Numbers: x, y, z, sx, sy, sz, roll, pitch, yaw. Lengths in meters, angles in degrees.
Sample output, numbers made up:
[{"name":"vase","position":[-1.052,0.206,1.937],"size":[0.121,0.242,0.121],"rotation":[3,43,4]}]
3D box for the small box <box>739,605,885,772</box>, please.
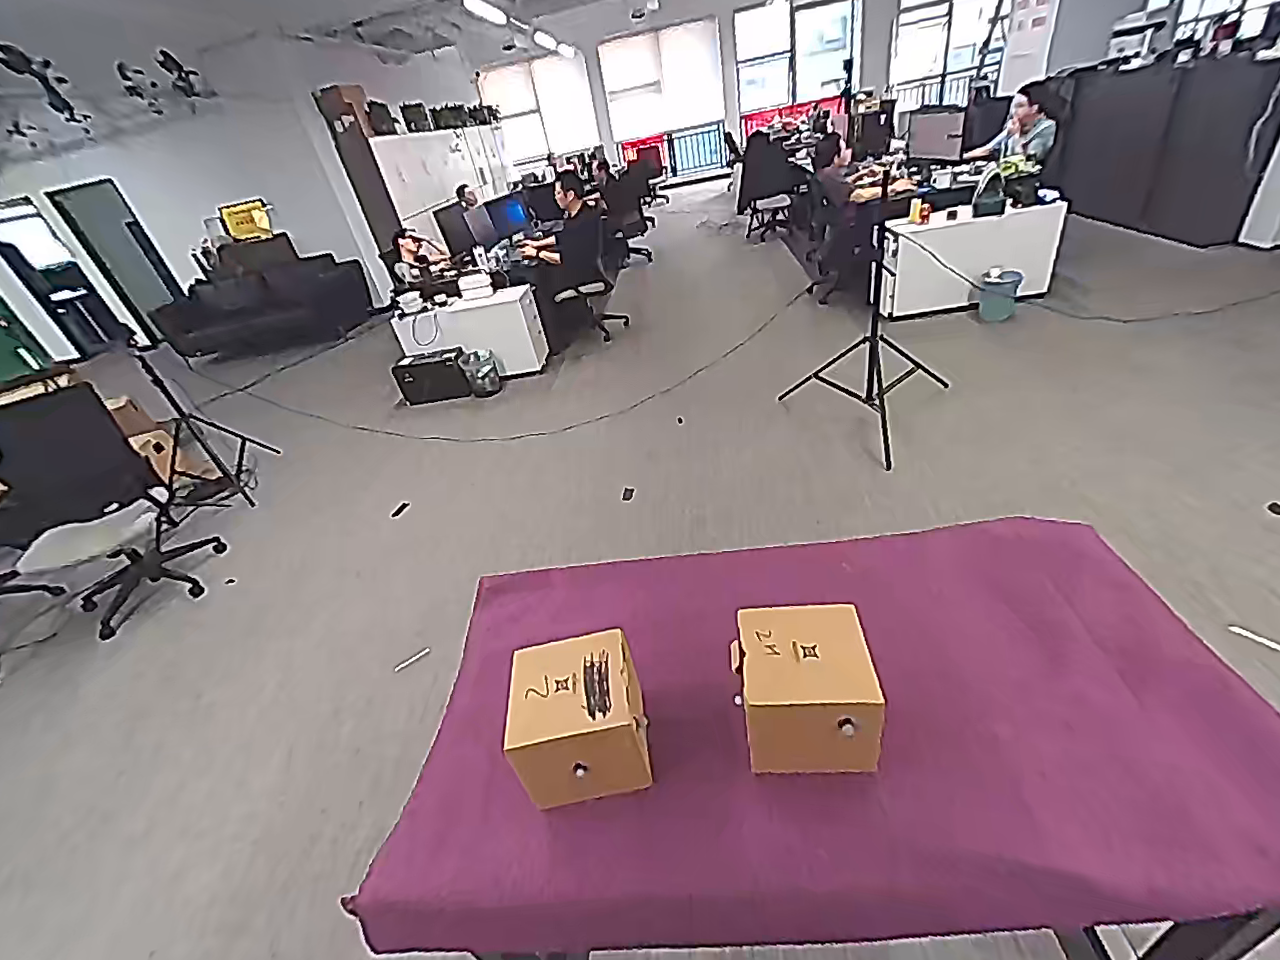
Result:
[{"name":"small box","position":[0.243,0.307,0.798],"size":[0.179,0.176,0.168],"rotation":[-6,33,10]}]
